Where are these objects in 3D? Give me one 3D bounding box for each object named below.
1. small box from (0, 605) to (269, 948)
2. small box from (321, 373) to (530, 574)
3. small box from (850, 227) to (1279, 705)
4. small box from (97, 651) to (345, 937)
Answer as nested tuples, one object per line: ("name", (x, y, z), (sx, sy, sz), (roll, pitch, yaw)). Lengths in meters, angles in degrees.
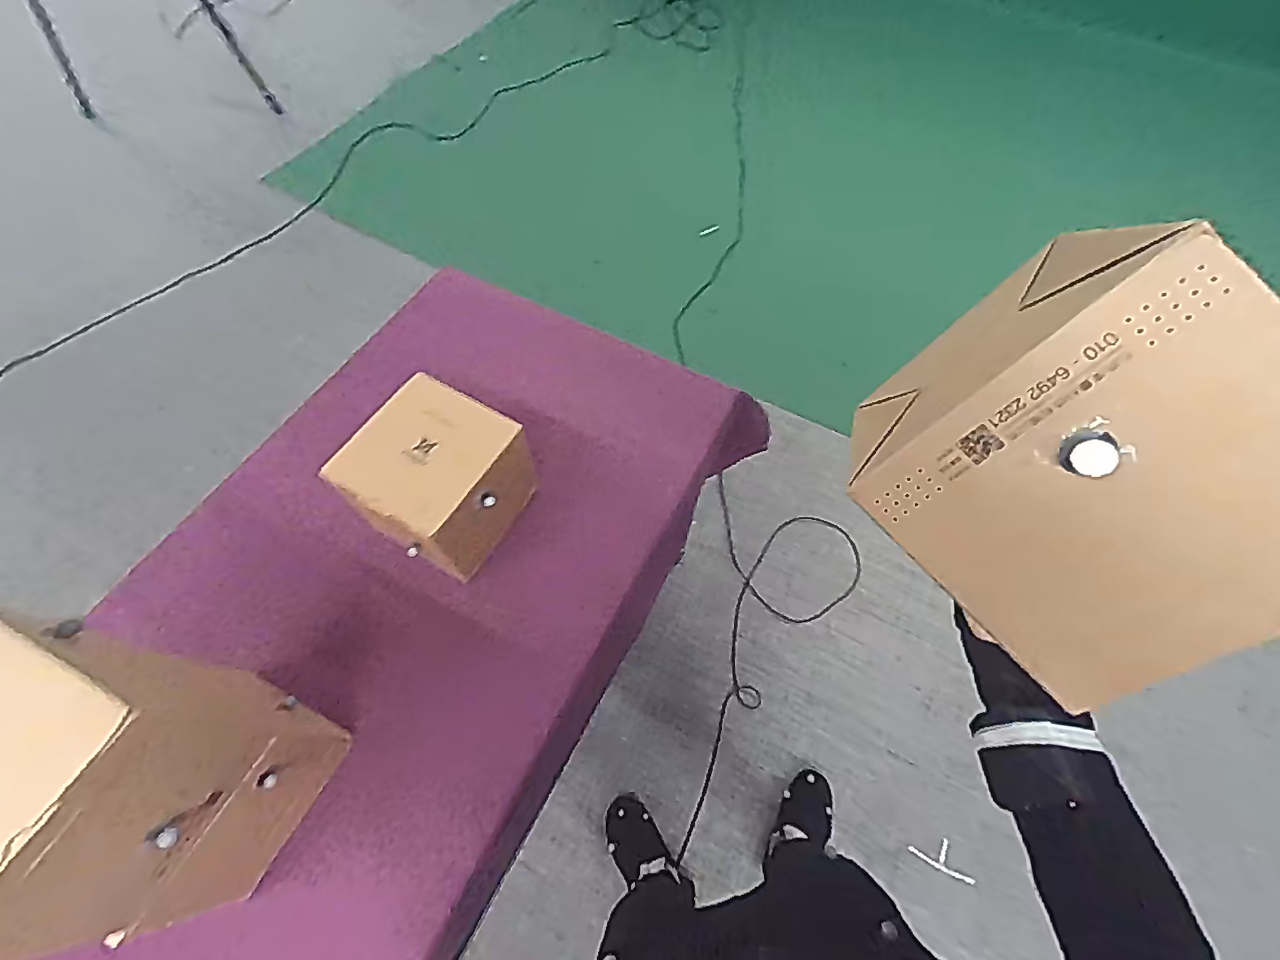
("small box", (-0.447, 0.222, 0.413), (0.179, 0.176, 0.168), (23, 64, 11))
("small box", (-0.264, 0.000, 0.718), (0.168, 0.176, 0.179), (28, 65, 12))
("small box", (0.243, -0.020, 0.311), (0.176, 0.168, 0.179), (45, 31, 1))
("small box", (-0.449, 0.307, 0.555), (0.168, 0.176, 0.179), (23, 63, 11))
